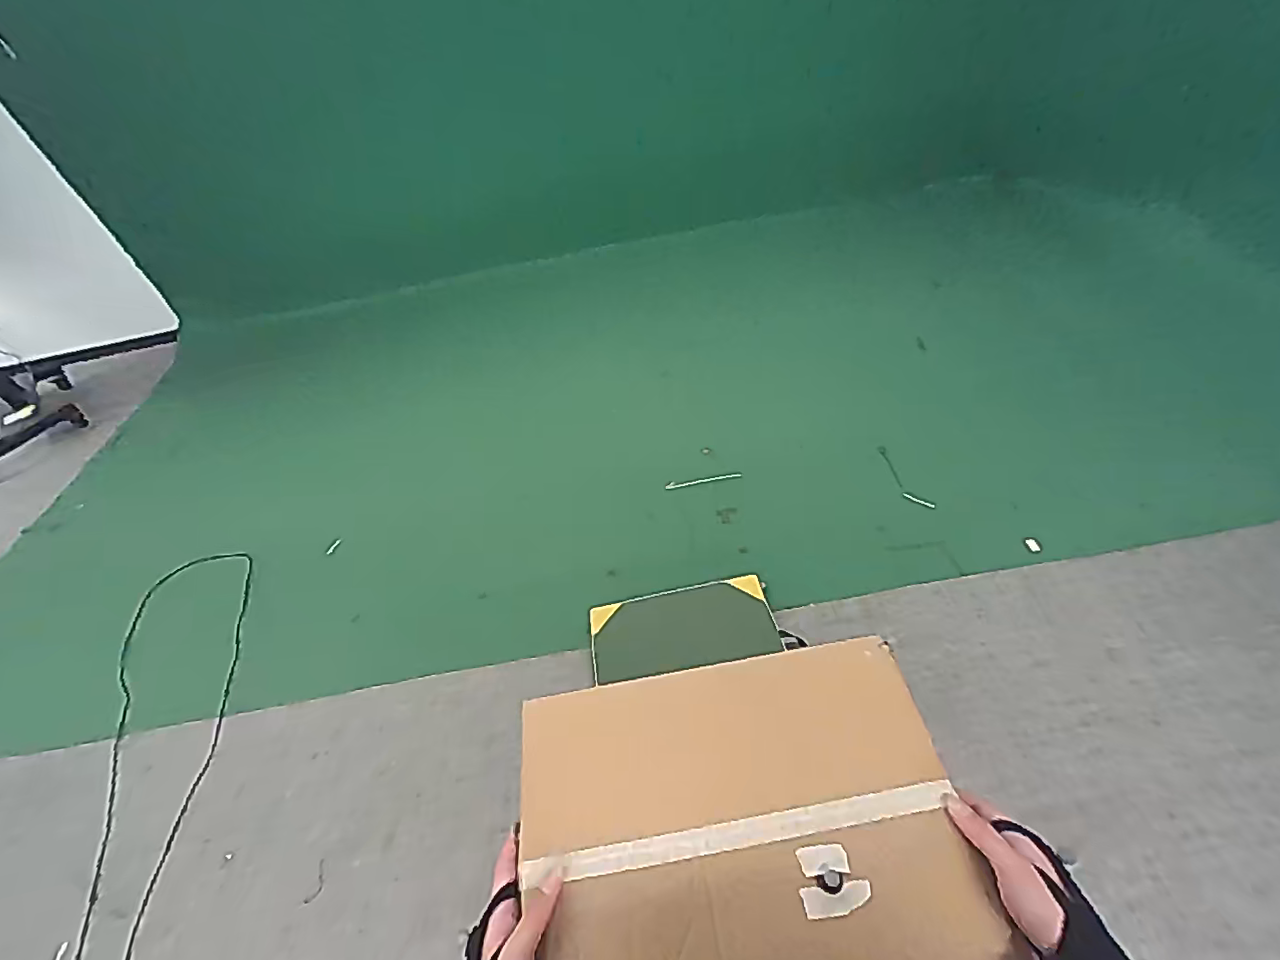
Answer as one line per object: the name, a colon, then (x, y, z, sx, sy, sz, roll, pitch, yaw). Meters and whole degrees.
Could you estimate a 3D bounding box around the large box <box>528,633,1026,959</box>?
large box: (0.106, 0.420, 0.623, 0.408, 0.320, 0.320, -10, 50, -1)
